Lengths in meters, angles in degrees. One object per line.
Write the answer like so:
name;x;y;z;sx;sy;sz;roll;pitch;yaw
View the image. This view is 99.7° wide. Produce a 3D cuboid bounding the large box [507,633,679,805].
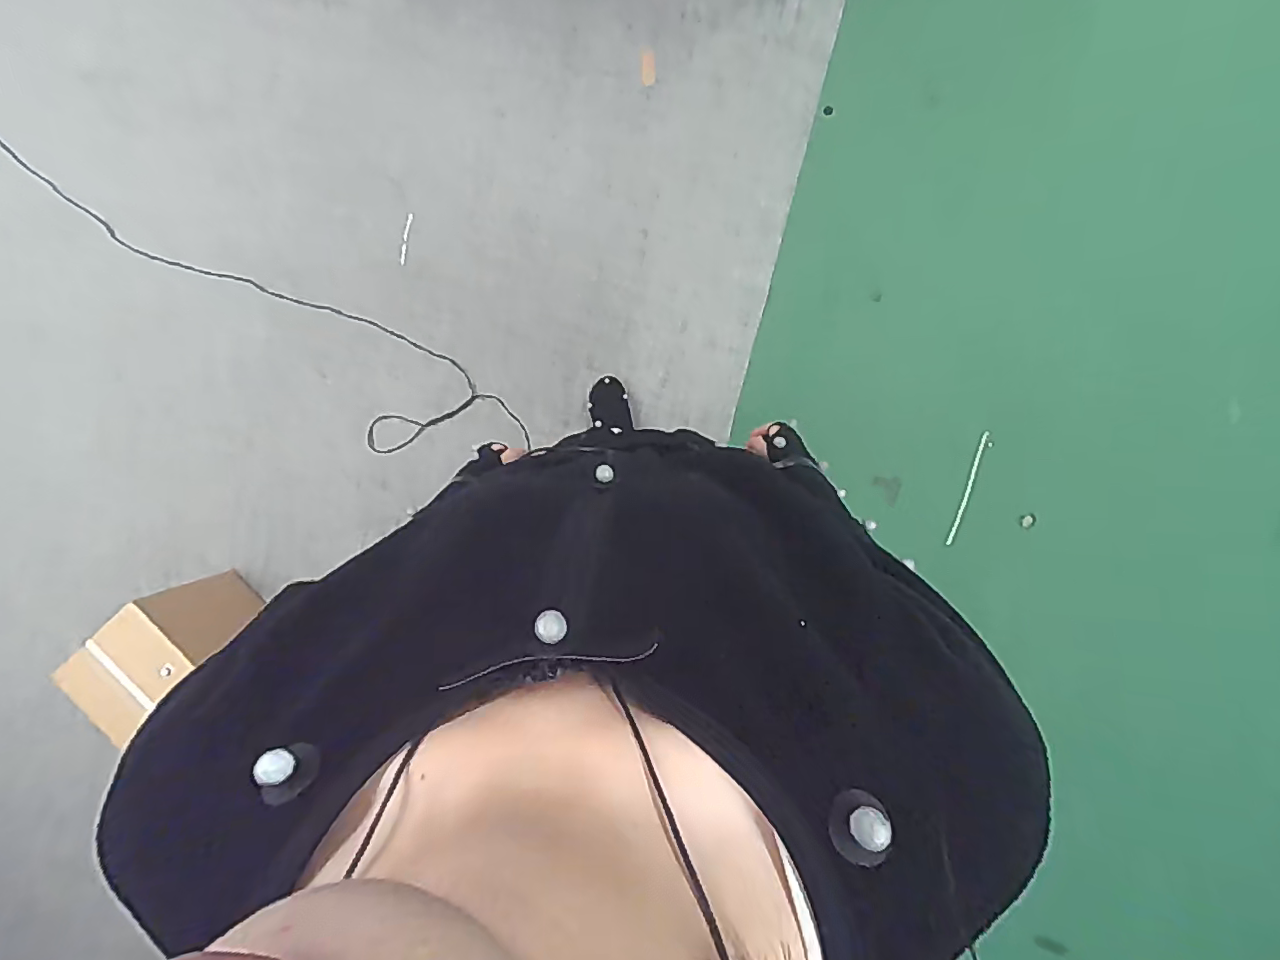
large box;-0.105;0.601;1.411;0.408;0.320;0.320;0;96;2
